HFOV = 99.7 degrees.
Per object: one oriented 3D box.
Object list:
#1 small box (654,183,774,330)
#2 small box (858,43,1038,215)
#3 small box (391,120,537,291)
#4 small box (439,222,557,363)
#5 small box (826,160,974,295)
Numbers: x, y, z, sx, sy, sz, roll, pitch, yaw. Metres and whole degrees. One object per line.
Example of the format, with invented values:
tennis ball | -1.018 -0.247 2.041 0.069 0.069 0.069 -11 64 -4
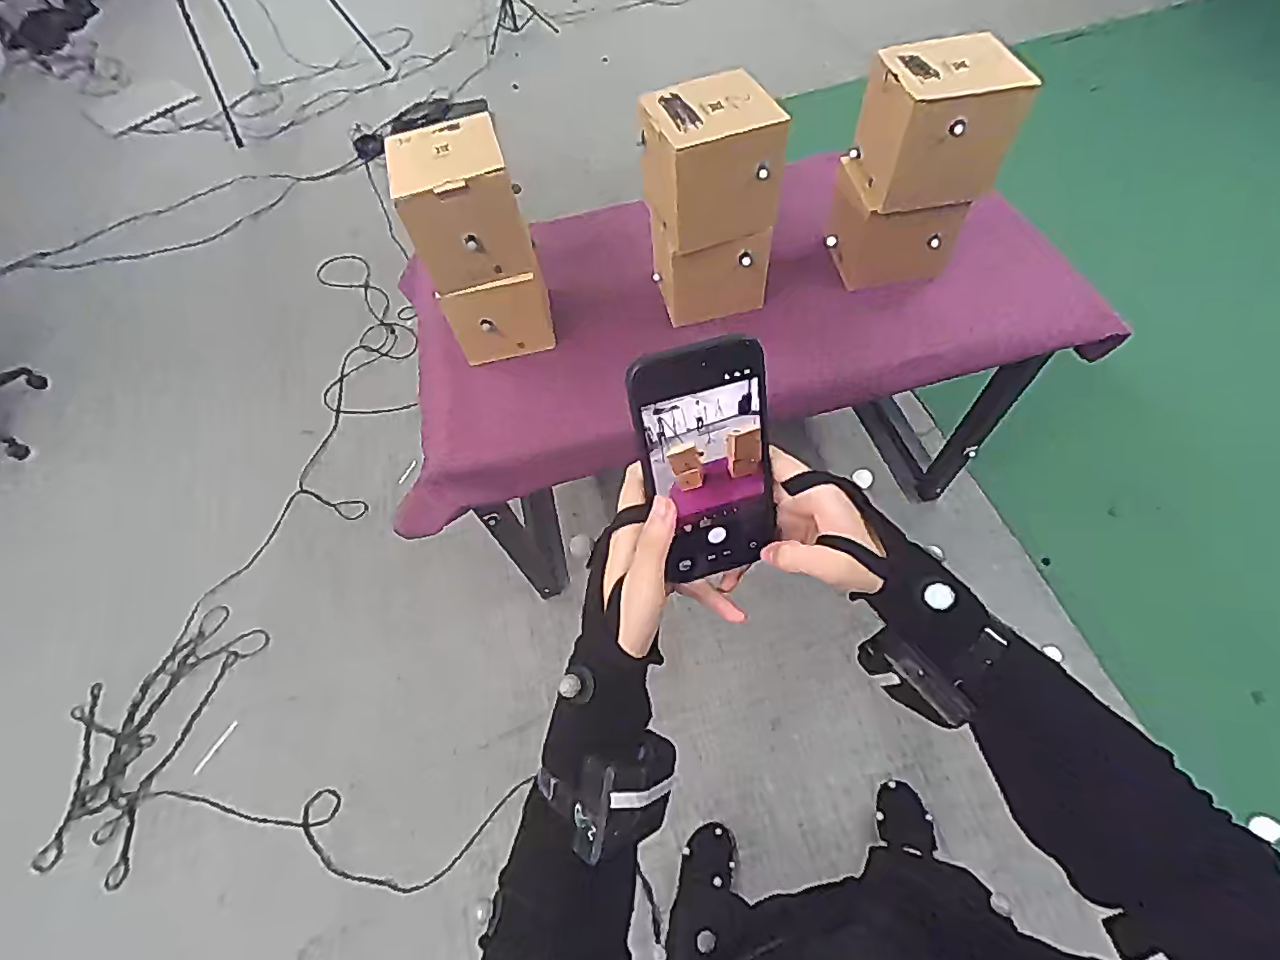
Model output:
small box | 0.129 -0.405 0.993 0.179 0.176 0.168 -13 59 -1
small box | 0.459 -0.541 0.847 0.179 0.176 0.168 -7 58 1
small box | -0.273 -0.426 0.860 0.168 0.176 0.179 -16 60 -4
small box | -0.256 -0.335 0.996 0.168 0.176 0.179 -12 59 -1
small box | 0.463 -0.468 0.994 0.179 0.176 0.168 -8 58 2
